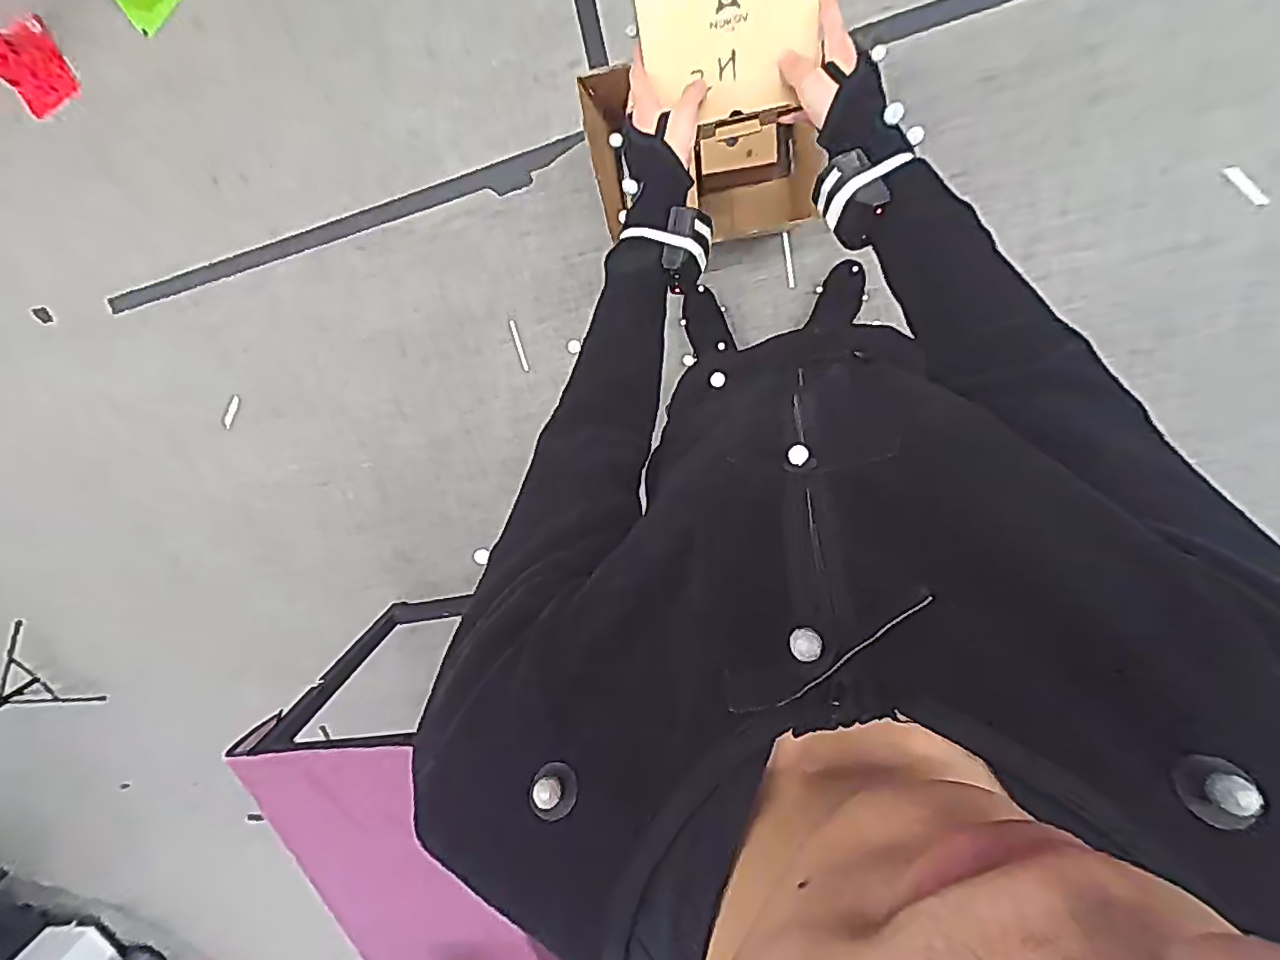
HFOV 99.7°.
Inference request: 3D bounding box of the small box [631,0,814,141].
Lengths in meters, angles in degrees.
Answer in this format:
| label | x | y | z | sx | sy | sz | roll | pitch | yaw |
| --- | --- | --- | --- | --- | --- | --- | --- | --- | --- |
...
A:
| label | x | y | z | sx | sy | sz | roll | pitch | yaw |
| --- | --- | --- | --- | --- | --- | --- | --- | --- | --- |
| small box | 0.080 | -0.471 | 0.558 | 0.168 | 0.176 | 0.179 | -6 | 118 | 10 |
